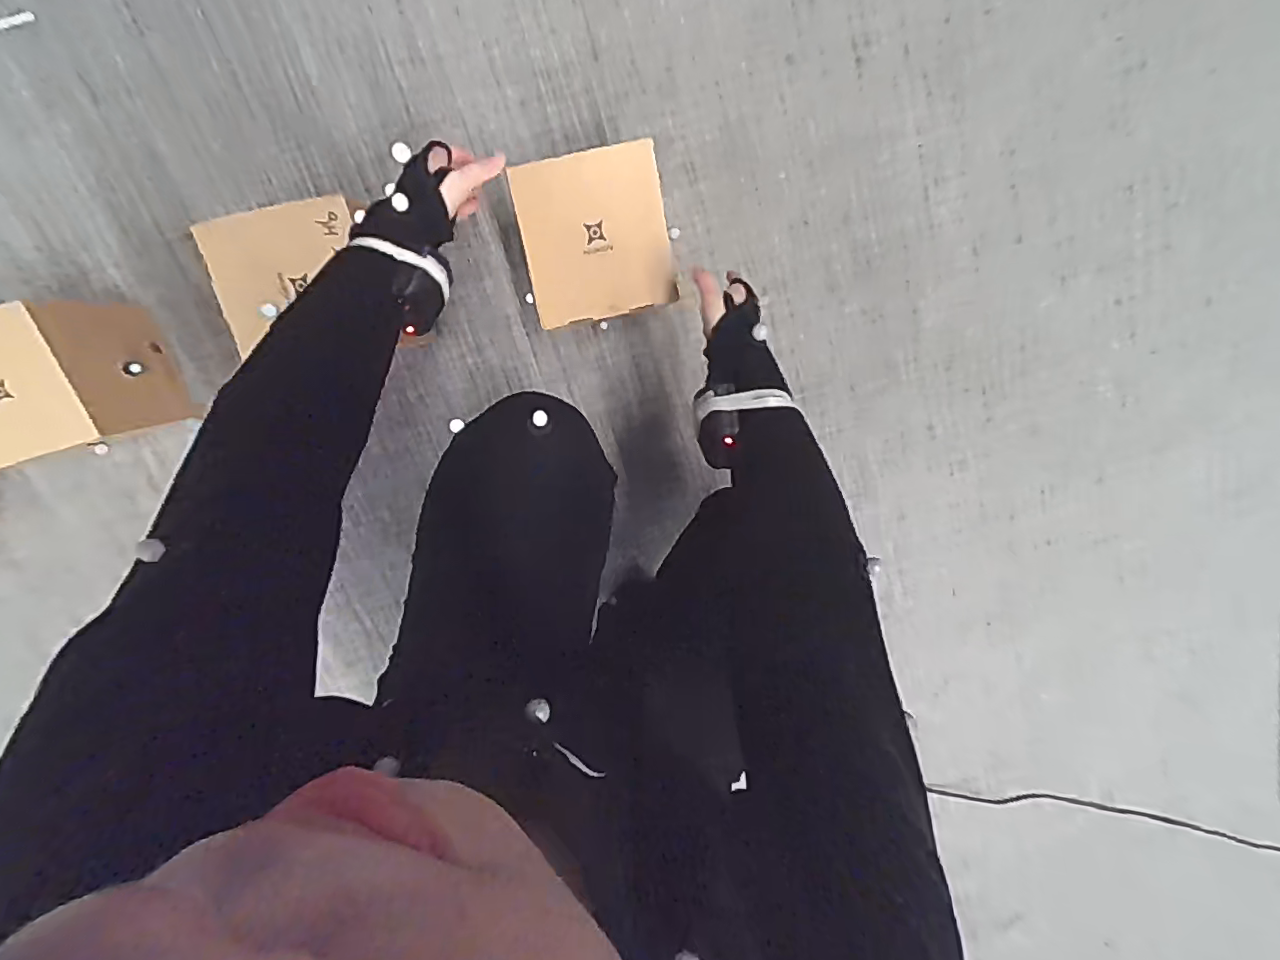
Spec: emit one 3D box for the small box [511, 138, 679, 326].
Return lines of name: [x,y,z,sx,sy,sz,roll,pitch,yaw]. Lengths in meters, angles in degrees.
small box: [-0.054,-0.300,0.692,0.168,0.176,0.179,-12,107,0]

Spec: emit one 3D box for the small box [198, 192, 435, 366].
small box: [-0.391,-0.245,0.691,0.179,0.176,0.168,-11,106,1]

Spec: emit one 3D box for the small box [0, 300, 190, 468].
small box: [-0.747,-0.129,0.707,0.179,0.176,0.168,-16,105,2]
